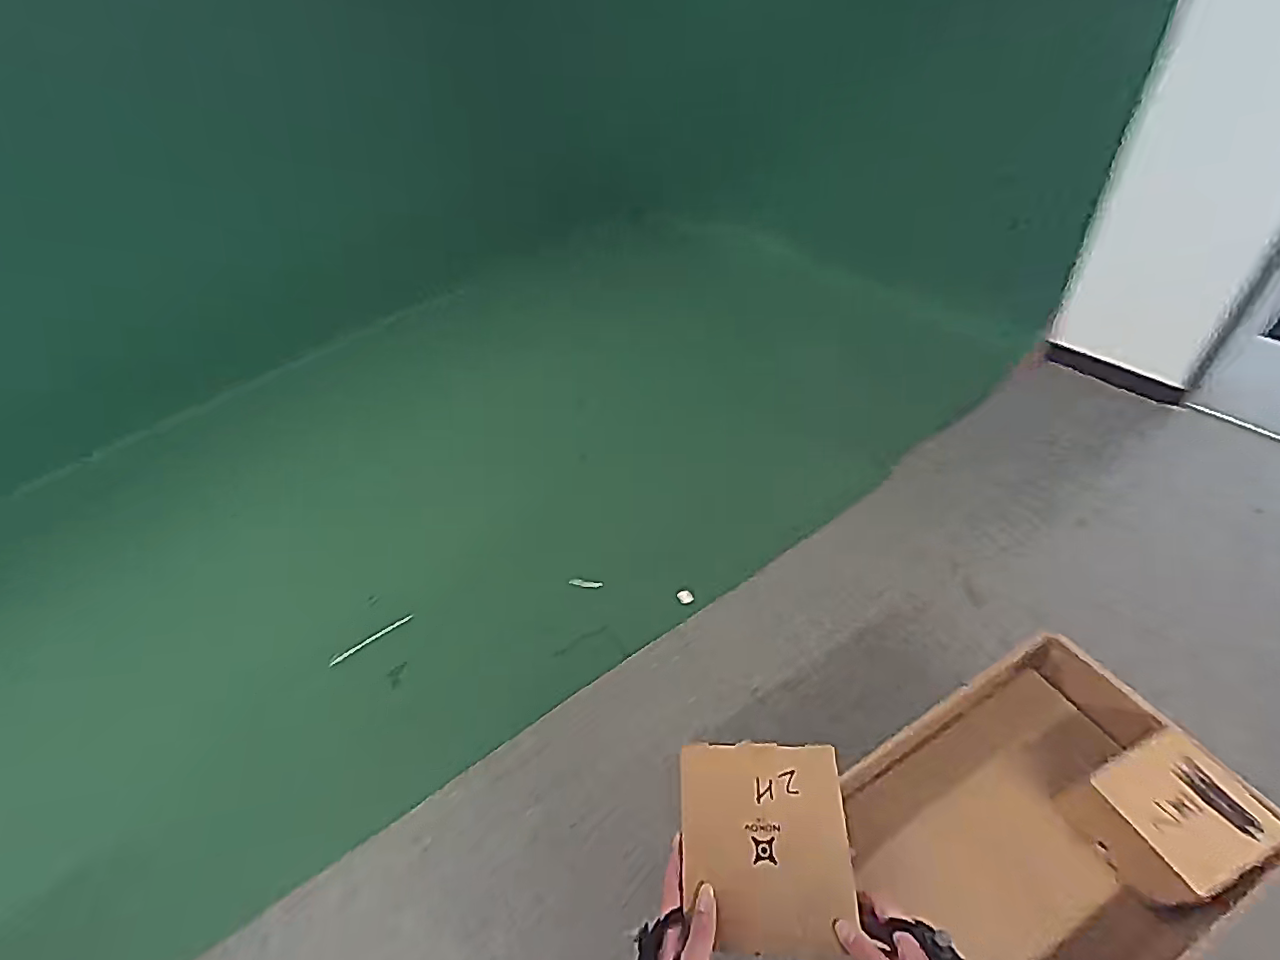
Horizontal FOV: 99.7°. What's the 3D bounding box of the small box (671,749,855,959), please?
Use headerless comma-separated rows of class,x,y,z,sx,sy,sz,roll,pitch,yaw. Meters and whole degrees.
small box,0.119,0.401,0.597,0.168,0.176,0.179,-1,59,3
